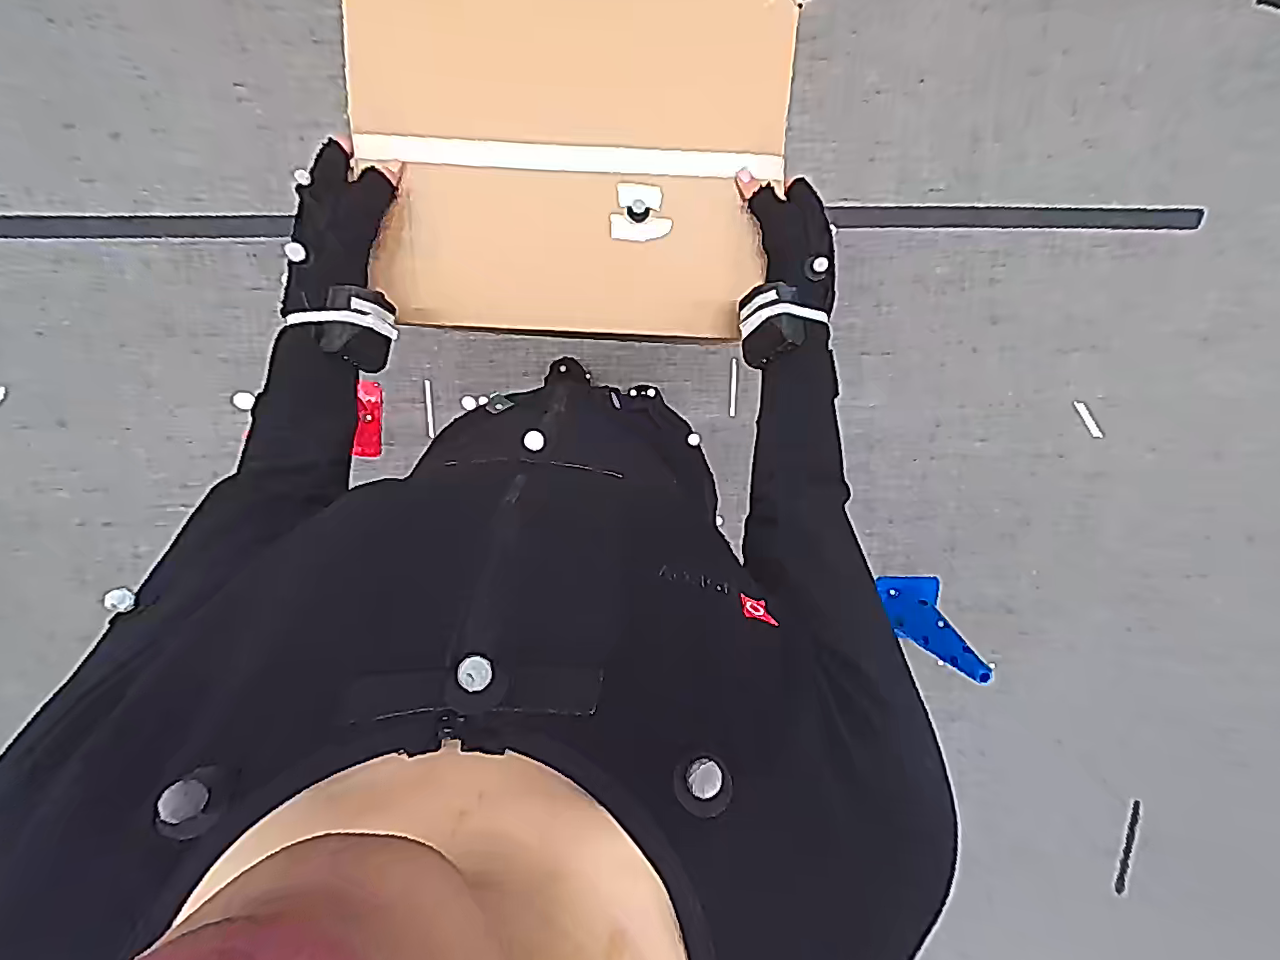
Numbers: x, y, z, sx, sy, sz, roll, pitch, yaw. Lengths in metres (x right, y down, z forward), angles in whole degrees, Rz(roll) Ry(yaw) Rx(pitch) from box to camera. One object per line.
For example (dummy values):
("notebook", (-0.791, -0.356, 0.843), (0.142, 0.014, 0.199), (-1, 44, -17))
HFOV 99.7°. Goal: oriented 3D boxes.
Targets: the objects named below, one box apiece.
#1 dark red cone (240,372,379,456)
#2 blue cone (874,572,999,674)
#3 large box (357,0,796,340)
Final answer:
("dark red cone", (-0.754, -0.129, 1.210), (0.201, 0.394, 0.202), (5, 103, -5))
("blue cone", (0.810, 0.403, 1.458), (0.192, 0.380, 0.193), (2, 103, -5))
("large box", (-0.067, -0.341, 0.661), (0.408, 0.320, 0.320), (2, 104, -2))
